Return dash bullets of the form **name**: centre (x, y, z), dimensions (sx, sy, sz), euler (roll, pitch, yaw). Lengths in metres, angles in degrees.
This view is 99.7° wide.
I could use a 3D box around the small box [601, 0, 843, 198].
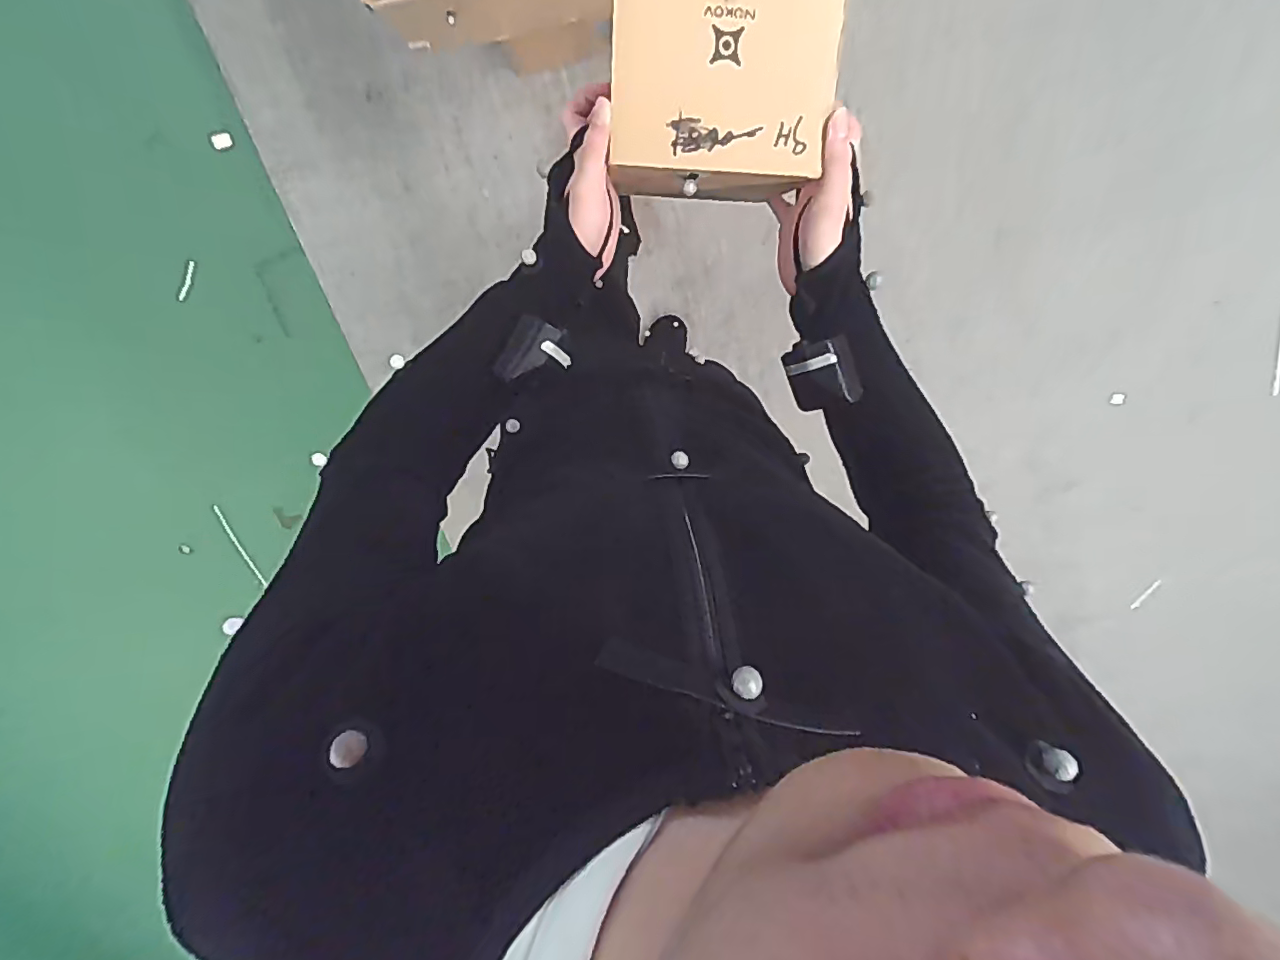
- **small box**: centre (0.053, -0.345, 0.443), dimensions (0.168, 0.176, 0.179), euler (2, 110, -3)
